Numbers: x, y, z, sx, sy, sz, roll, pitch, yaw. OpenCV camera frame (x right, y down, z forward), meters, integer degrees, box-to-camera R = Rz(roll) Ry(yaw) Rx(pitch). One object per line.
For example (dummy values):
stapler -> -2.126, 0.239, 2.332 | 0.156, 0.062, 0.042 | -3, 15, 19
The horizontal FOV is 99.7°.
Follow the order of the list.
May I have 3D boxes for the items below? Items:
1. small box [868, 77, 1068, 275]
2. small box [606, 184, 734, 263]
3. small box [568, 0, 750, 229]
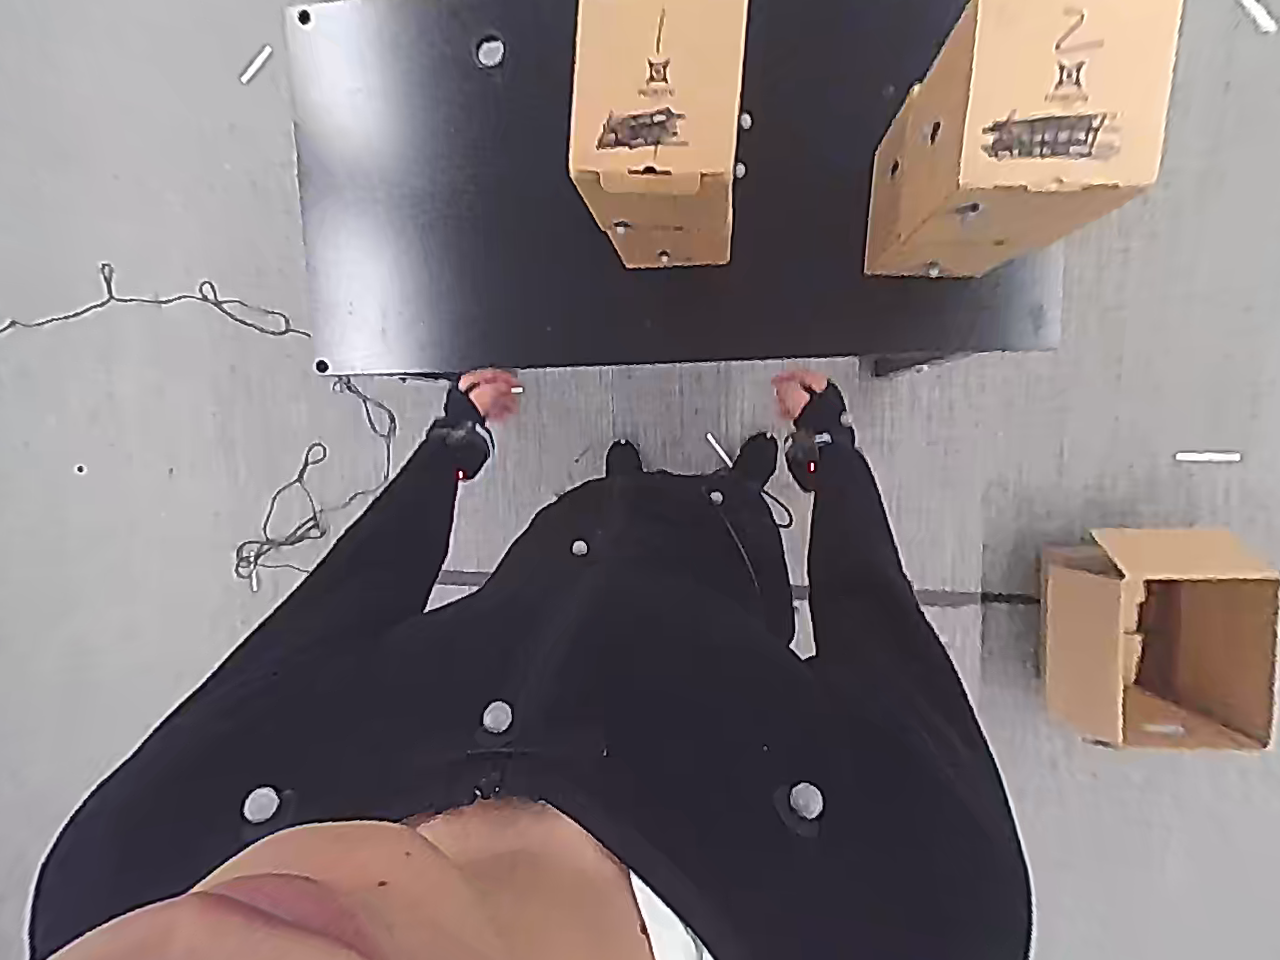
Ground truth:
small box -> 0.411, -0.385, 0.710 | 0.168, 0.176, 0.179 | 5, 97, 8
small box -> 0.046, -0.421, 0.759 | 0.168, 0.176, 0.179 | 0, 96, 8
small box -> 0.026, -0.395, 0.598 | 0.168, 0.176, 0.179 | 6, 96, 7
